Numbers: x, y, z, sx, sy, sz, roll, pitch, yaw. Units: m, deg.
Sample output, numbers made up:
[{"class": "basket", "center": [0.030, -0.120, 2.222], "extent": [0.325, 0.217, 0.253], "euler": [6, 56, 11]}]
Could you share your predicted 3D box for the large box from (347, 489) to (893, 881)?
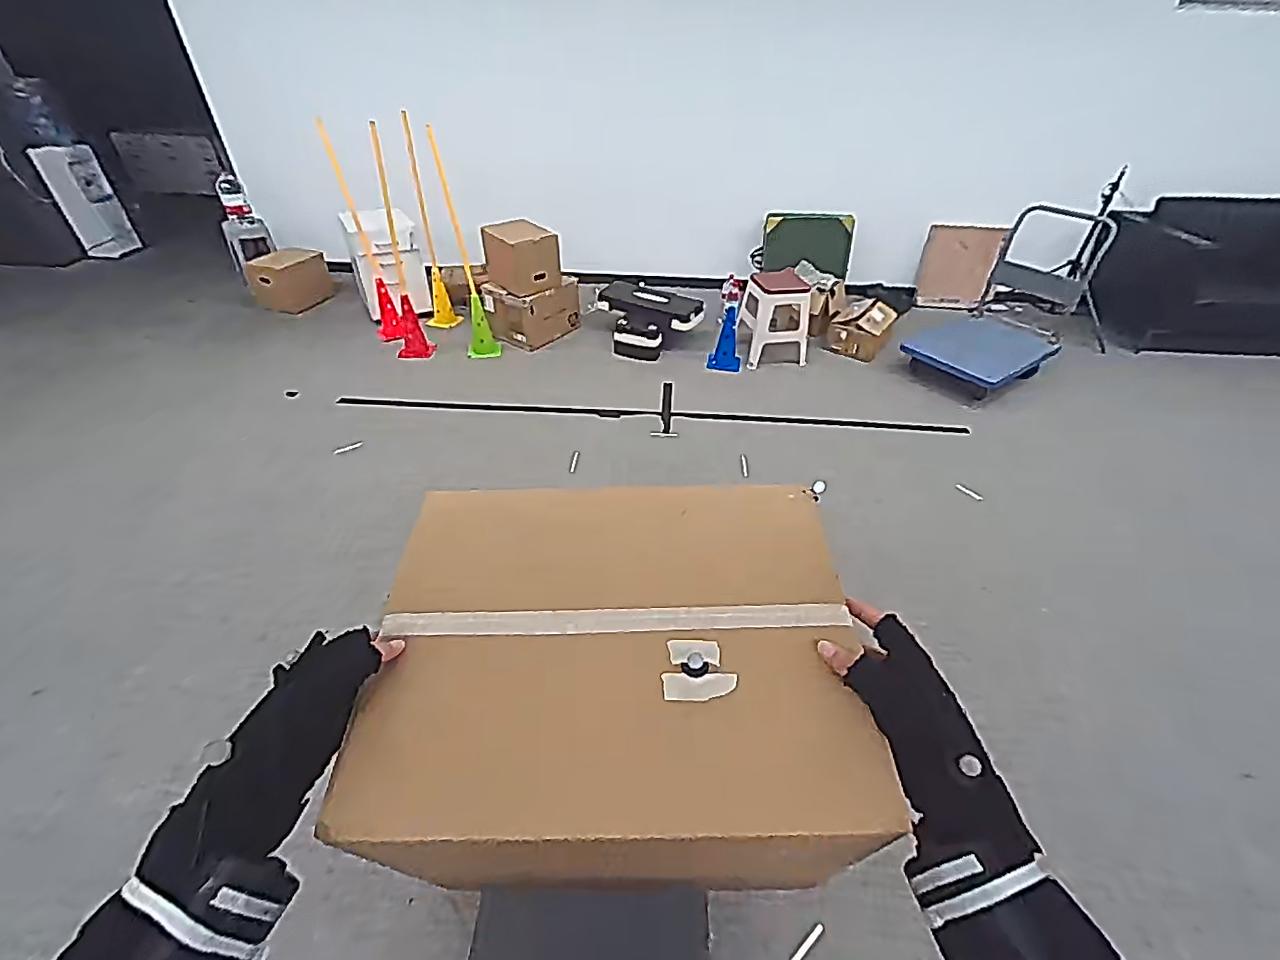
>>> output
[{"class": "large box", "center": [-0.015, 0.227, 0.595], "extent": [0.408, 0.320, 0.320], "euler": [-1, 48, 0]}]
